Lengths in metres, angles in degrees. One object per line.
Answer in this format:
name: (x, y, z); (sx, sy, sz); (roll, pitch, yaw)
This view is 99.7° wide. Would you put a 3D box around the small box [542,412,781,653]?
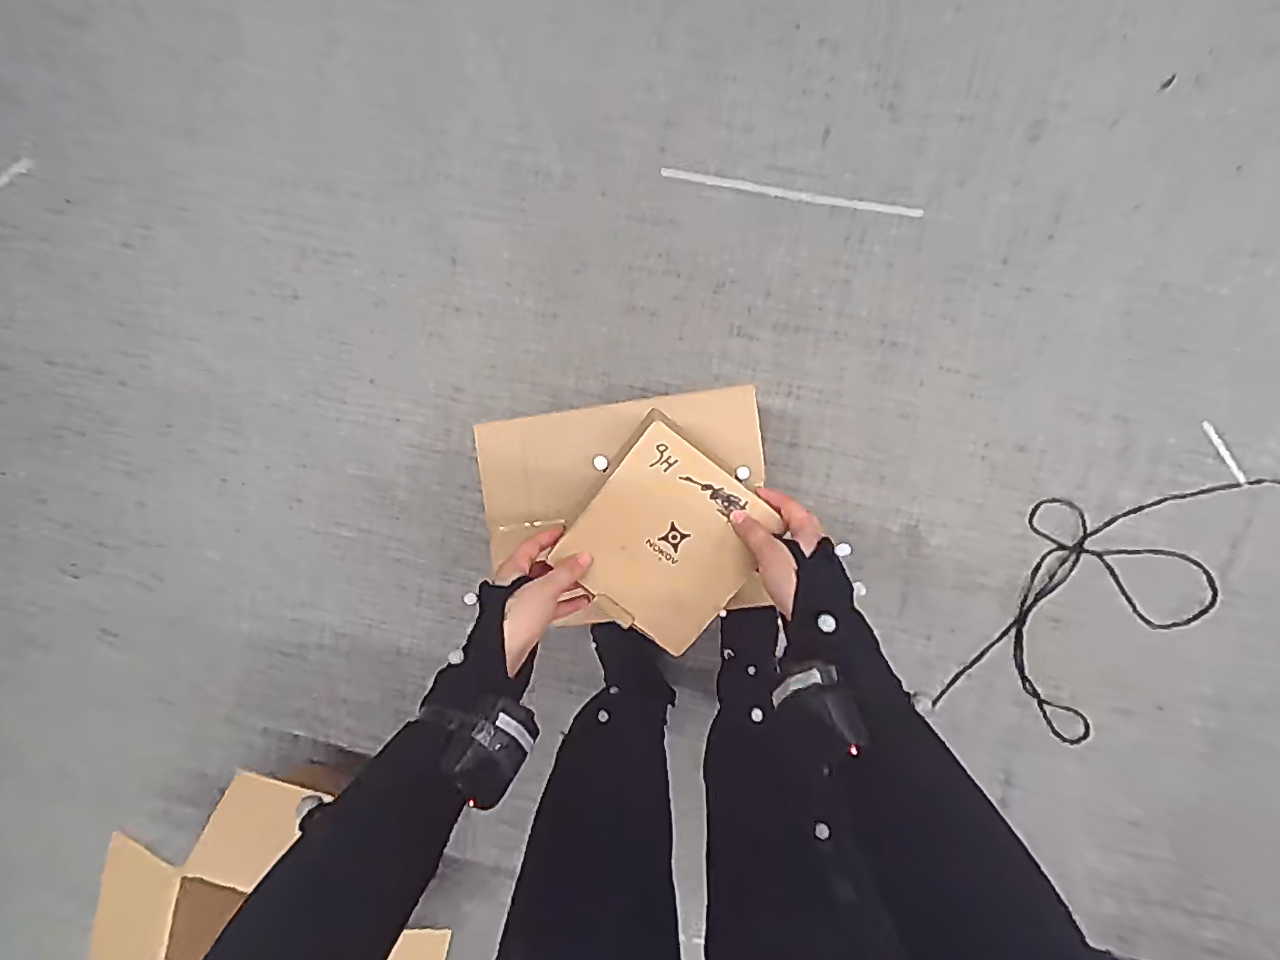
small box: (0.022, 0.044, 0.593); (0.168, 0.176, 0.179); (38, 99, -6)
